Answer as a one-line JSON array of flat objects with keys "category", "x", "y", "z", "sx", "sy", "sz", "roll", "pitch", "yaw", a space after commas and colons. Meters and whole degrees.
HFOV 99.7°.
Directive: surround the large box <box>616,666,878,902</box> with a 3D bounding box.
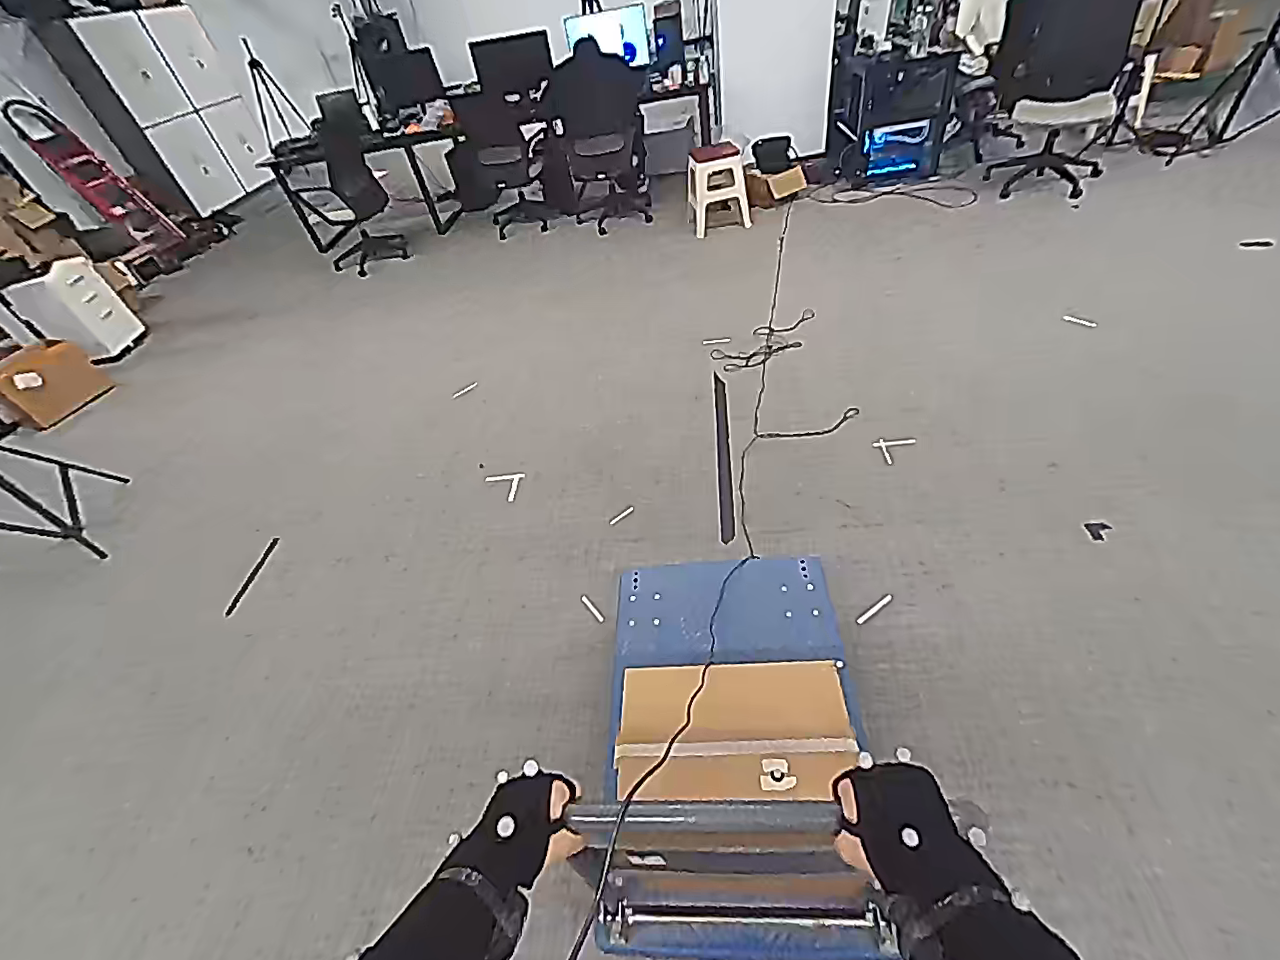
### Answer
[{"category": "large box", "x": 0.181, "y": 0.579, "z": 1.027, "sx": 0.408, "sy": 0.320, "sz": 0.320, "roll": -5, "pitch": 44, "yaw": 7}]
